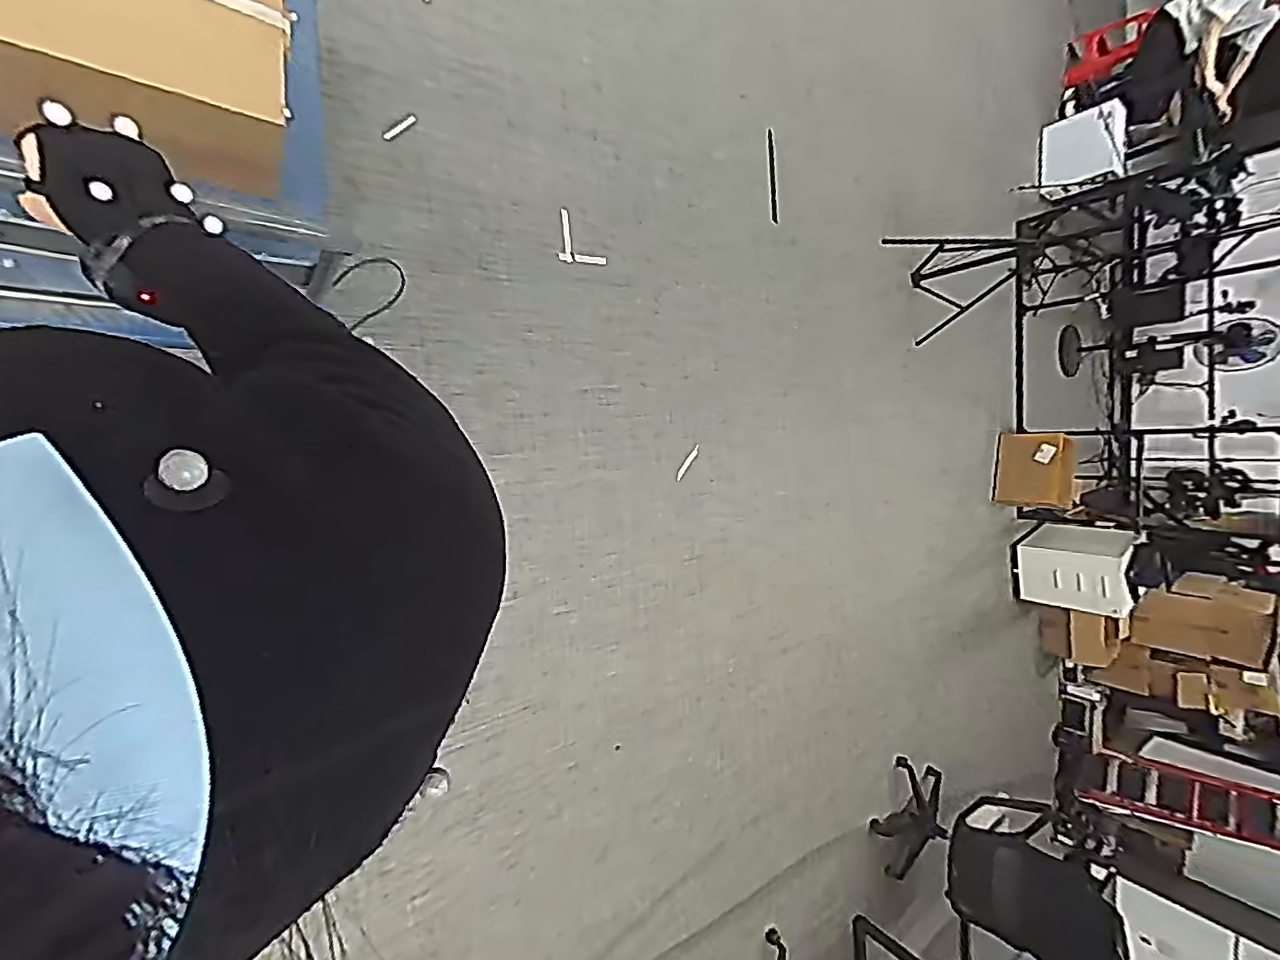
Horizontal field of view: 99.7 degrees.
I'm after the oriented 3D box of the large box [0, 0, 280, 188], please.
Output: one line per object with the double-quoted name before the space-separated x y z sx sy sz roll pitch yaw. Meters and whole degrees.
"large box" -0.827 -0.729 0.866 0.408 0.320 0.320 -2 92 -35
